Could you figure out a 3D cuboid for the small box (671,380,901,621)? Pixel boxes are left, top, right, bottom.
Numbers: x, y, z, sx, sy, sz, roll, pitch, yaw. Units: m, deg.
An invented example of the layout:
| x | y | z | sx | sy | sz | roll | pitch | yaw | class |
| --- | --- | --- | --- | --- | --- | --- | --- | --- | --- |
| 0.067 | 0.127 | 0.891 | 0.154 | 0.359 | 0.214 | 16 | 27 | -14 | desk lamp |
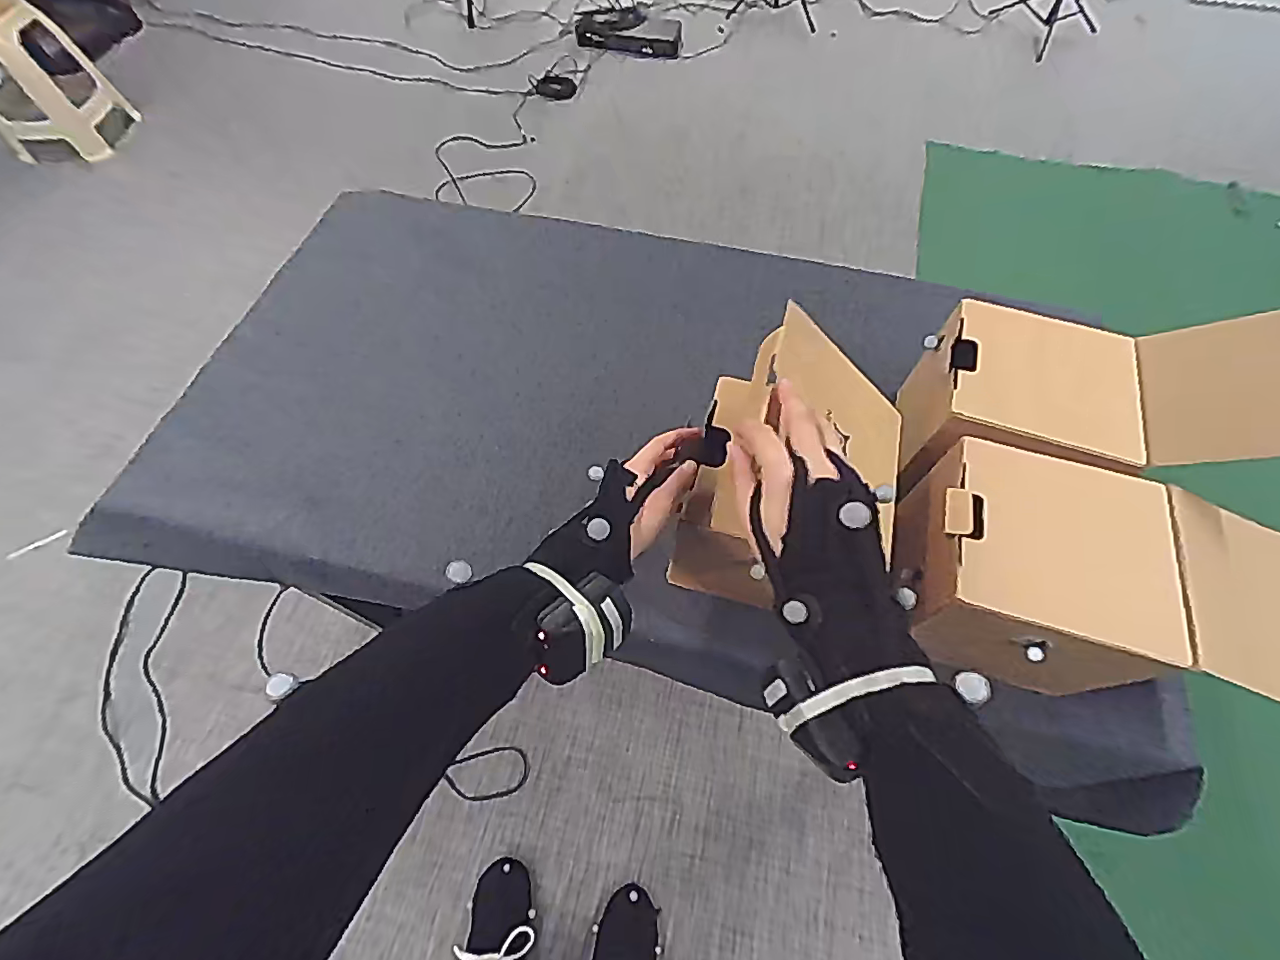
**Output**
| x | y | z | sx | sy | sz | roll | pitch | yaw | class |
| --- | --- | --- | --- | --- | --- | --- | --- | --- | --- |
| 0.137 | 0.030 | 0.549 | 0.179 | 0.176 | 0.168 | 14 | 62 | 8 | small box |
